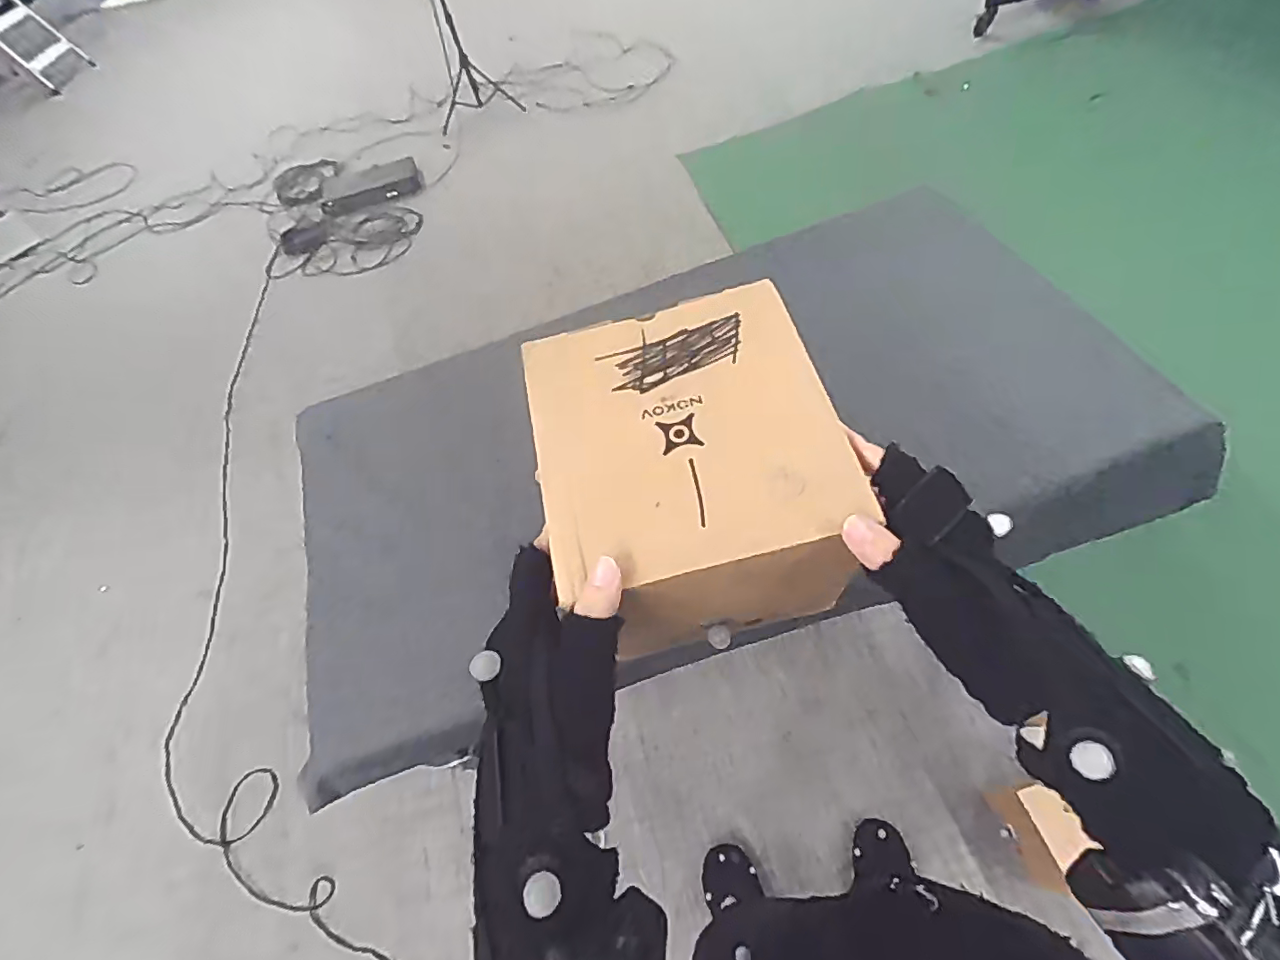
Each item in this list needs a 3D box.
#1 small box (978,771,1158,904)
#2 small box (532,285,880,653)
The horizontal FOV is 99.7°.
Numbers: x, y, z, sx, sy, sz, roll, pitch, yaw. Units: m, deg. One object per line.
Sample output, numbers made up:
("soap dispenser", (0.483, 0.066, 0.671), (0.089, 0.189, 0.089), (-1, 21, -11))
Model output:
("small box", (0.791, 0.667, 1.025), (0.179, 0.176, 0.168), (-18, 58, 0))
("small box", (0.034, 0.004, 0.374), (0.168, 0.176, 0.179), (-13, 62, 2))
